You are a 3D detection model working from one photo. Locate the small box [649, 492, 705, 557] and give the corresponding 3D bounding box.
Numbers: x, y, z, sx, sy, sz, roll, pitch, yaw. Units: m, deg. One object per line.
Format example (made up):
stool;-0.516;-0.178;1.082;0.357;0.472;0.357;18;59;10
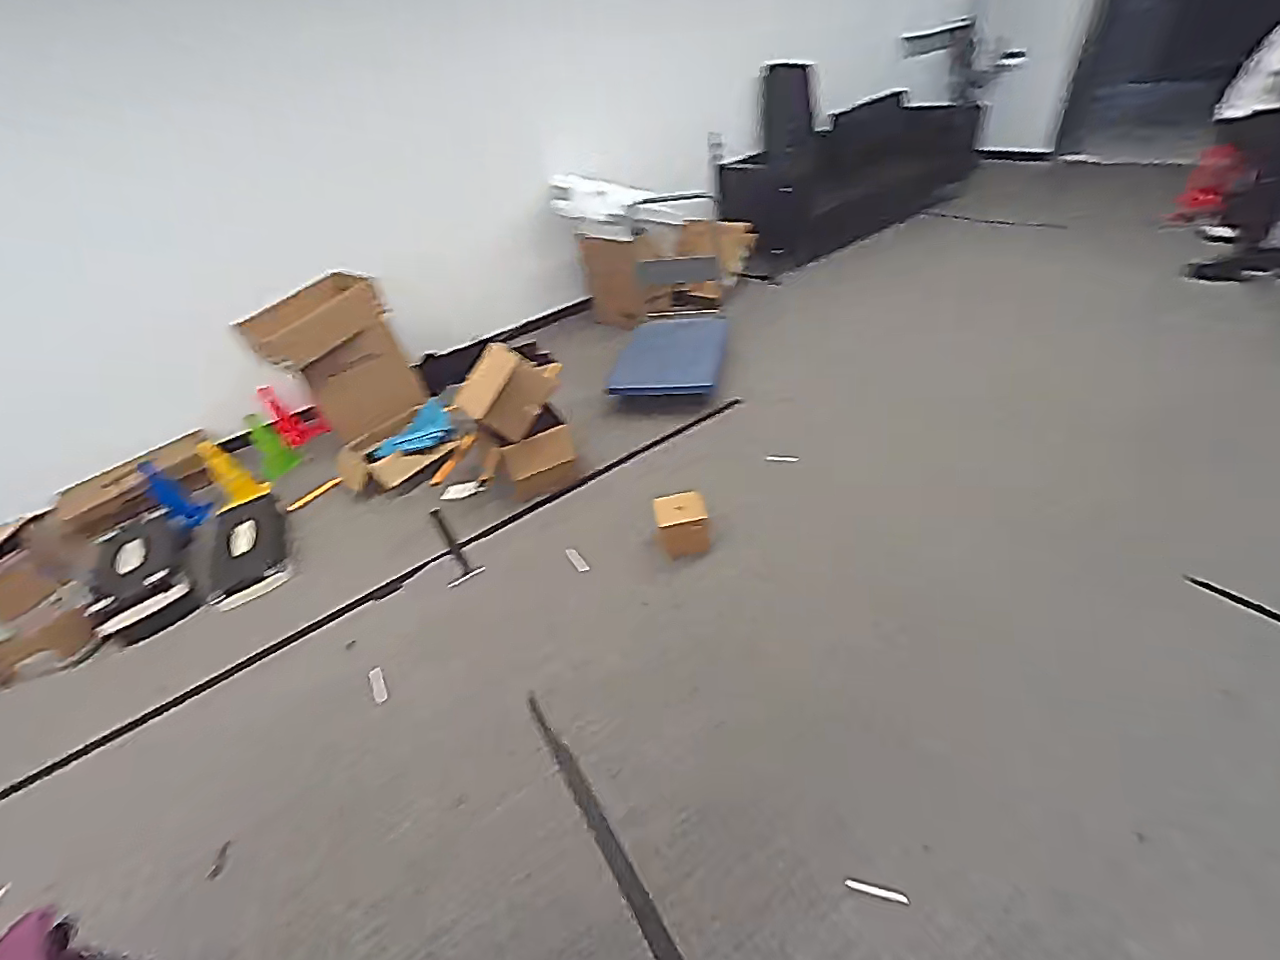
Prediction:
small box;0.143;0.175;2.081;0.179;0.176;0.168;-13;37;-2
